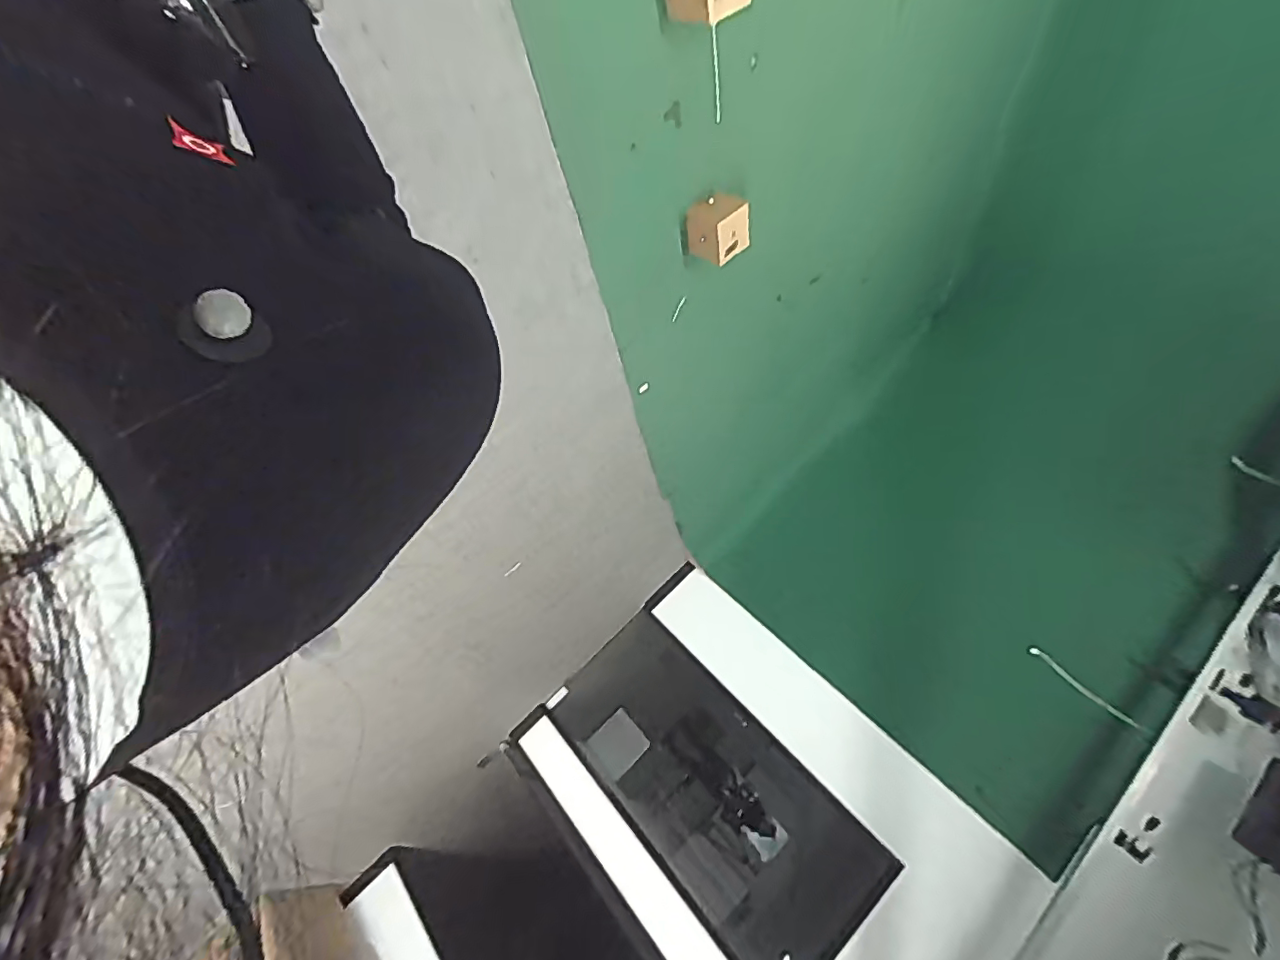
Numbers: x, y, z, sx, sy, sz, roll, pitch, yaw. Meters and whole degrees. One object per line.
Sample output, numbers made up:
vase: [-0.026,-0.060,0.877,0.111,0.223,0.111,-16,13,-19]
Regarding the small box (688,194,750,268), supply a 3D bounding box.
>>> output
small box: [0.300,-0.949,2.055,0.168,0.176,0.179,-40,148,-16]
